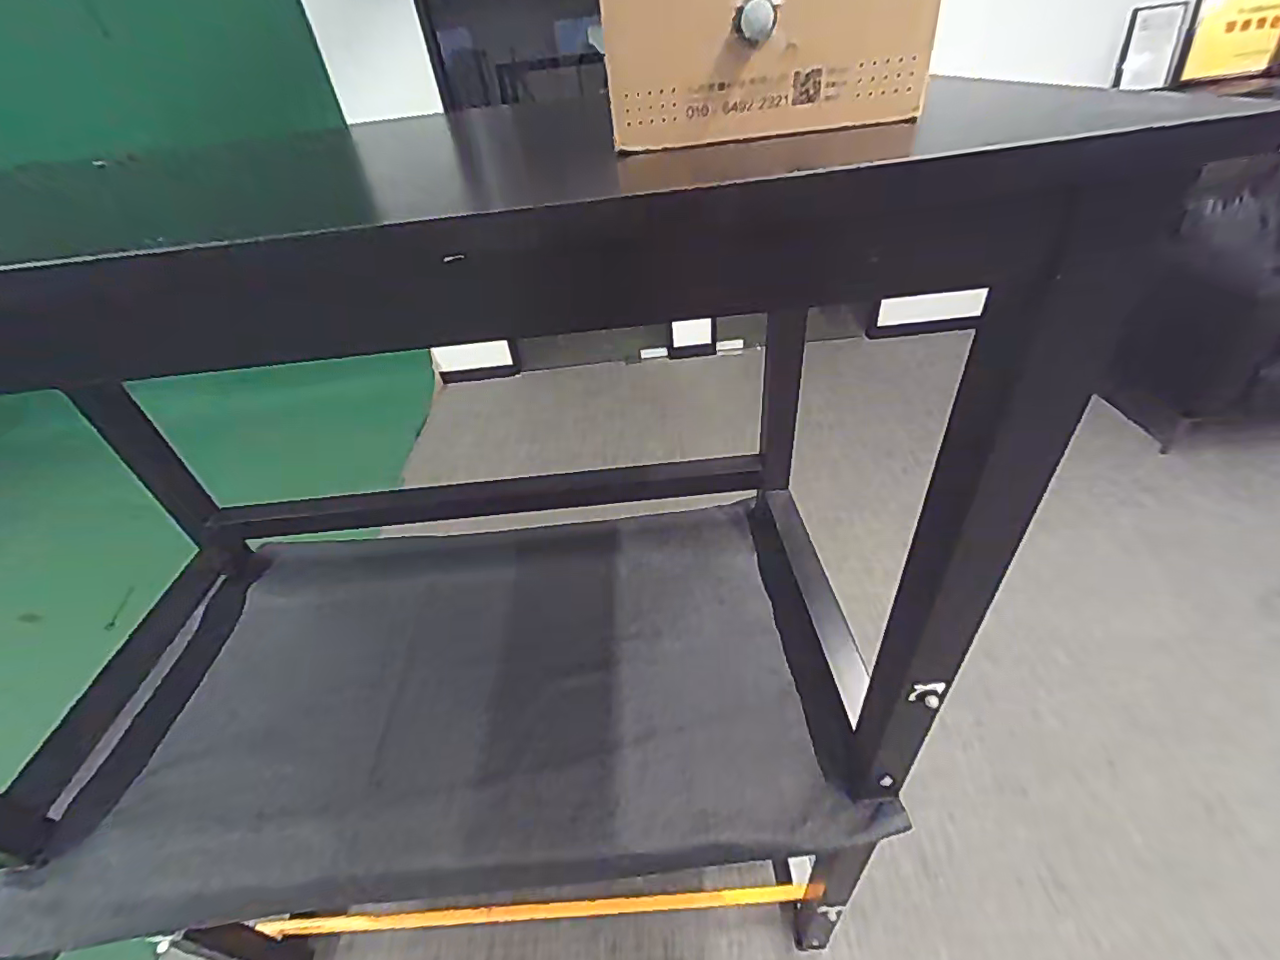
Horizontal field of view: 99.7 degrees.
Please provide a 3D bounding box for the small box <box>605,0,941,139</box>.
[{"bbox_3d":[0.066,-0.306,0.308,0.168,0.176,0.179,-3,39,7],"label":"small box"}]
